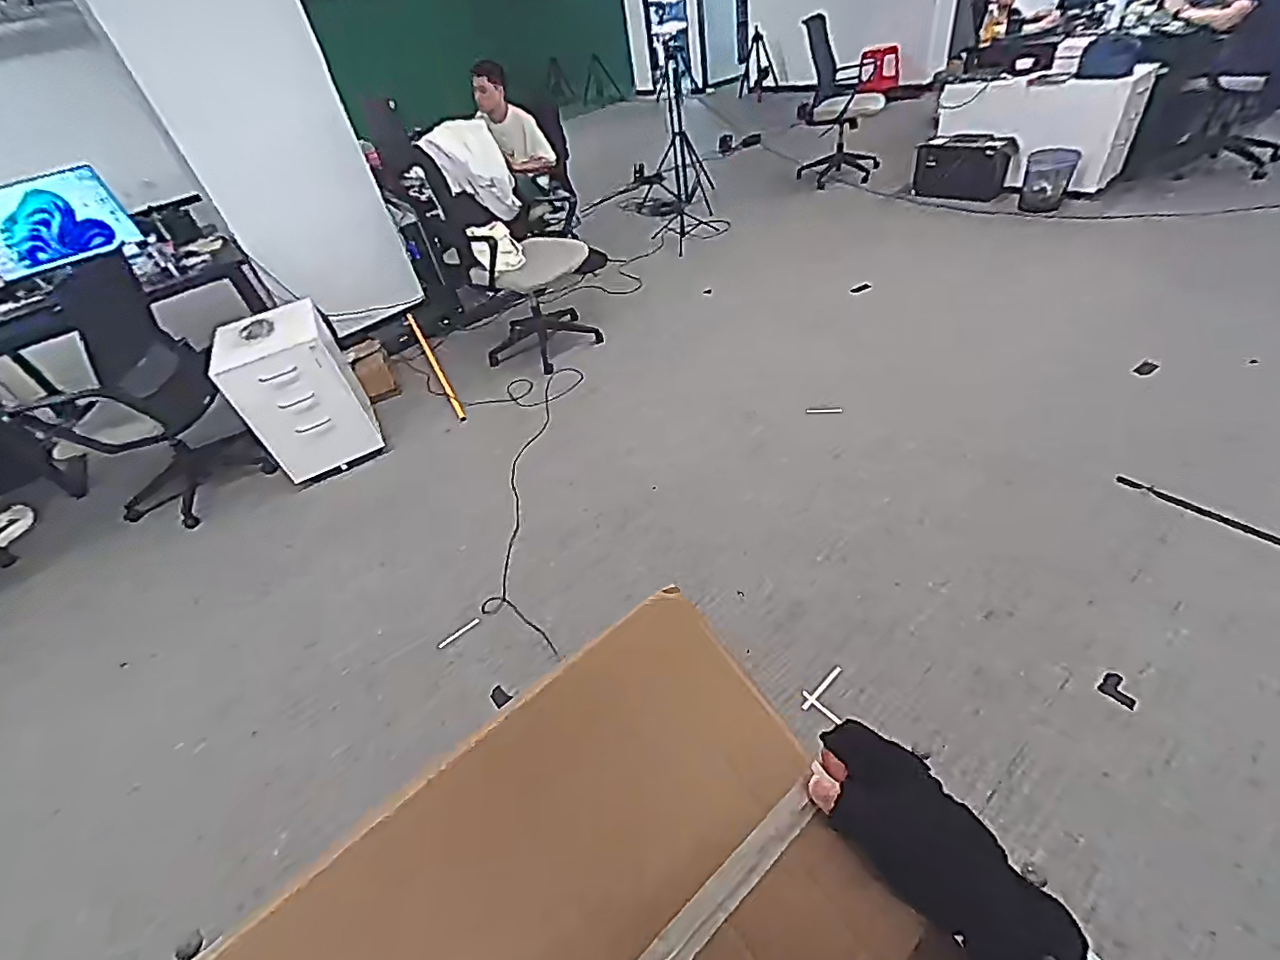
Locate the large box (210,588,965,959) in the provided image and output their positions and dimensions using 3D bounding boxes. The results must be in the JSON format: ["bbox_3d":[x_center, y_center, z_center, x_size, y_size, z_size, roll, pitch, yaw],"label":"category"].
[{"bbox_3d":[-0.065,0.351,0.423,0.408,0.320,0.320,-36,81,-21],"label":"large box"}]
